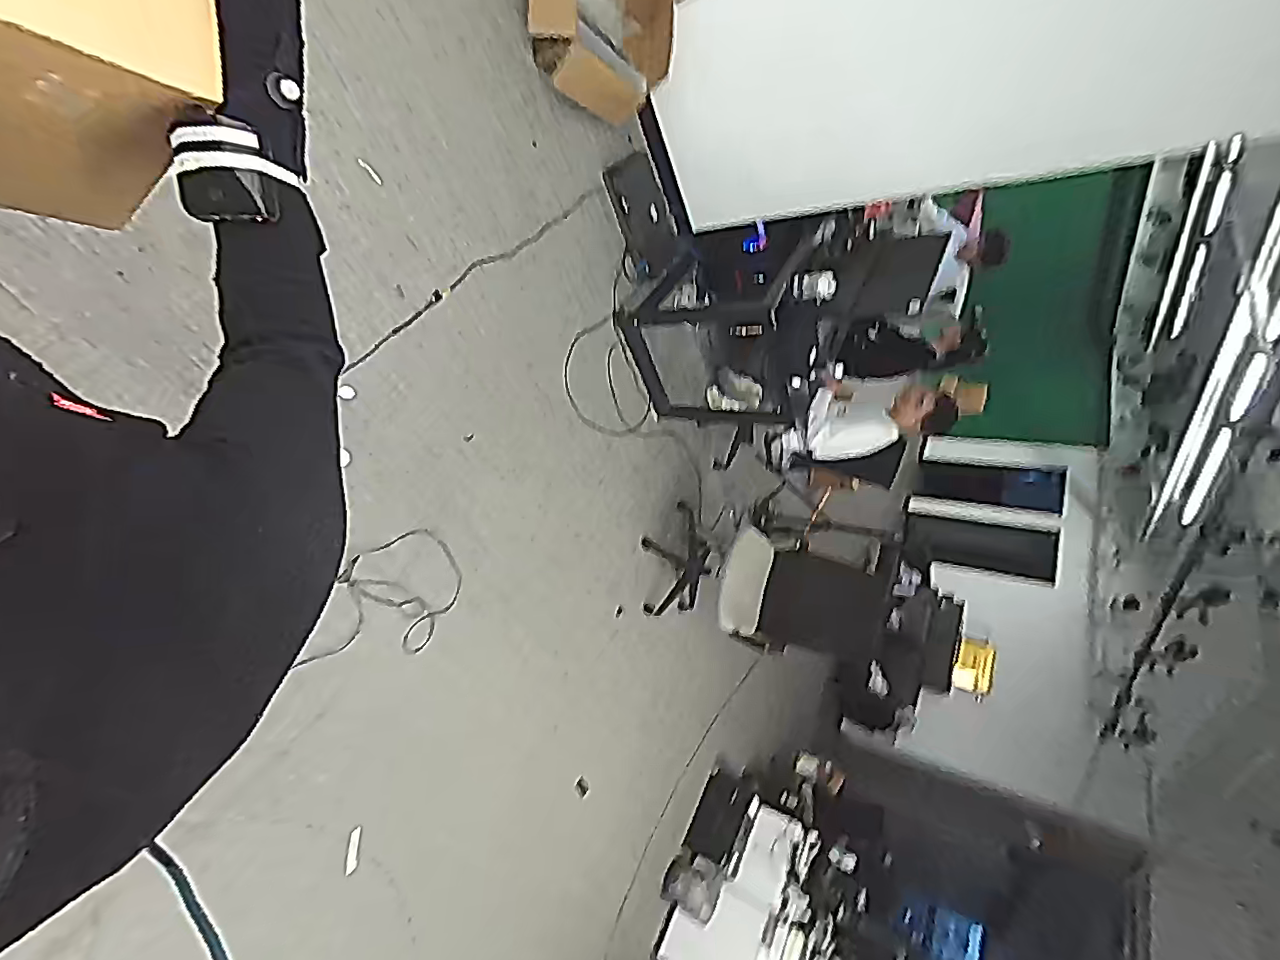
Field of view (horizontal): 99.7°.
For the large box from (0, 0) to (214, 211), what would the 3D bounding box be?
[{"bbox_3d":[-0.548,-0.403,0.298,0.408,0.320,0.320,-10,98,-54],"label":"large box"}]
